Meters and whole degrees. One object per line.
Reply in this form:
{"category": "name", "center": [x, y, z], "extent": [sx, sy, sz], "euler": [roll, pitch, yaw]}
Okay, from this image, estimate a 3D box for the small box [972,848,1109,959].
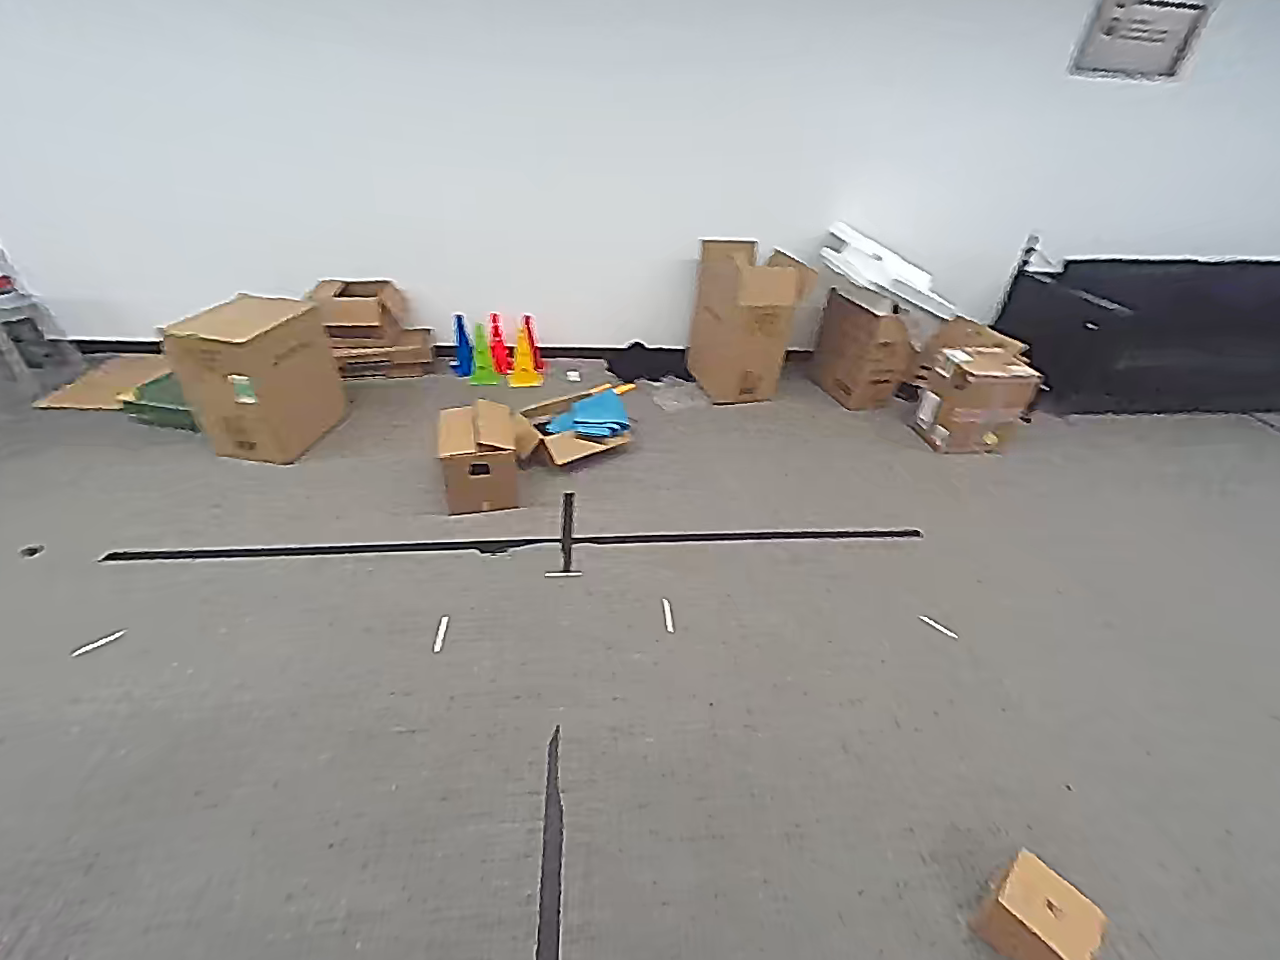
{"category": "small box", "center": [0.900, 1.000, 1.226], "extent": [0.168, 0.176, 0.179], "euler": [-25, 43, -36]}
